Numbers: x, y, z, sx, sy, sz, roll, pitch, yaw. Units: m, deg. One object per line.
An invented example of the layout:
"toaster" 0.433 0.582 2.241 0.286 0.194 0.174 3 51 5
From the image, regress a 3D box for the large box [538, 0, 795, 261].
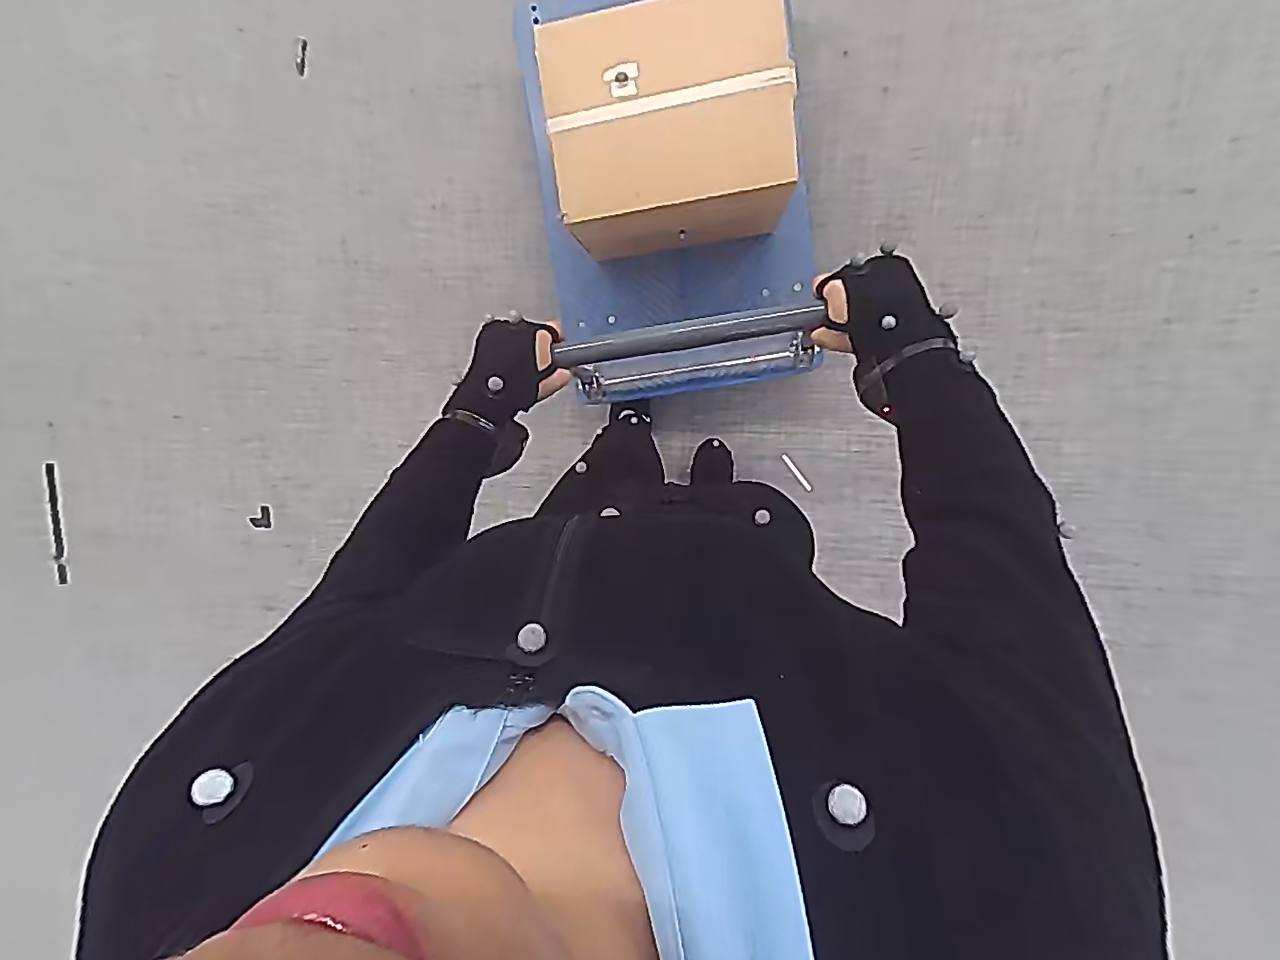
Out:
"large box" 0.063 -0.649 1.053 0.408 0.320 0.320 -7 98 9
